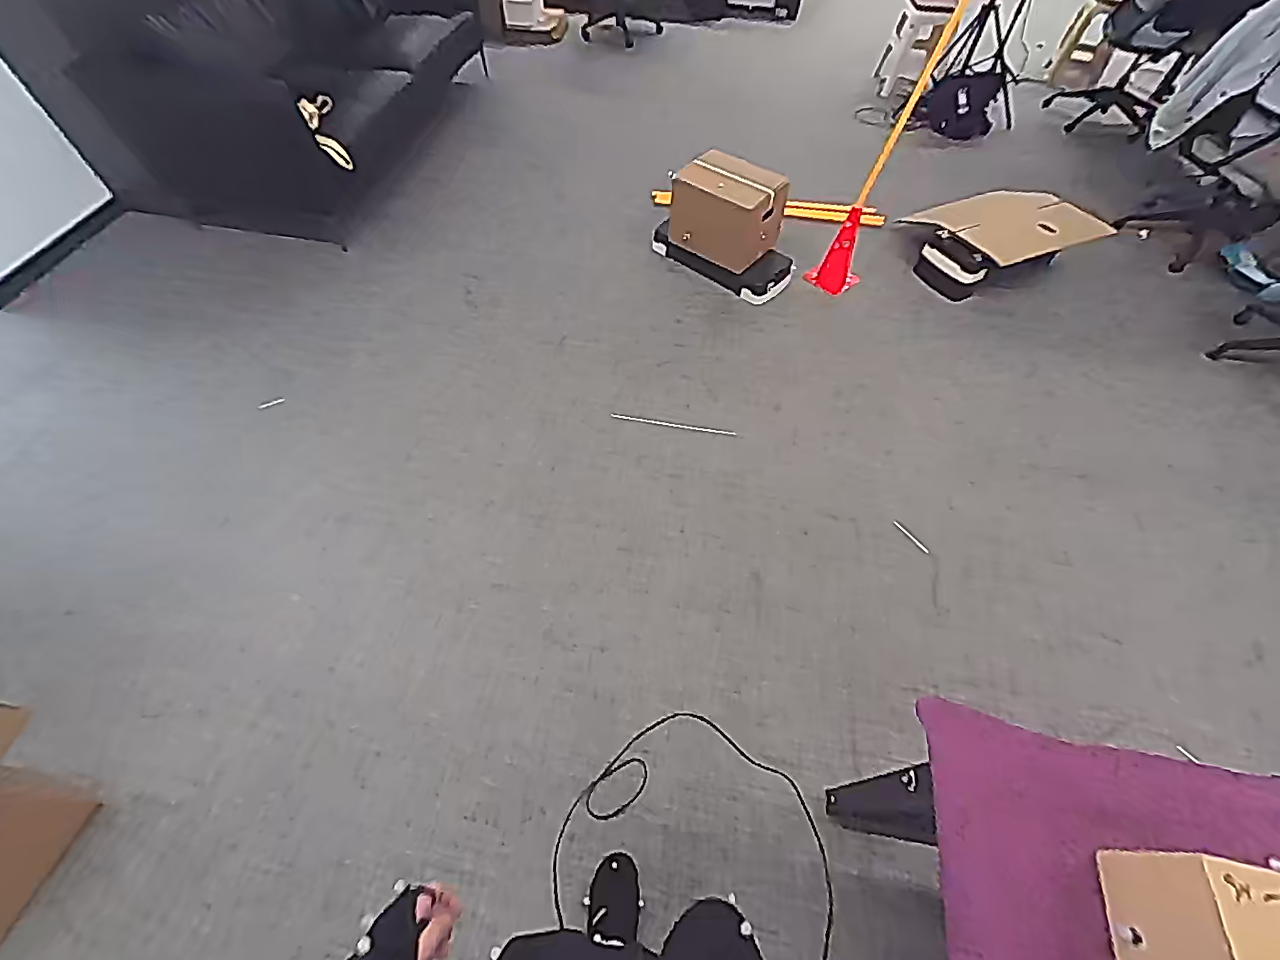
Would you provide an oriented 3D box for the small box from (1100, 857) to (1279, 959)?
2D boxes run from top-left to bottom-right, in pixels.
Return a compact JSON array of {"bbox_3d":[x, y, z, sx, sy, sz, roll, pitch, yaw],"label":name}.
[{"bbox_3d":[0.667,0.541,0.597,0.168,0.176,0.179,11,57,6],"label":"small box"}]
